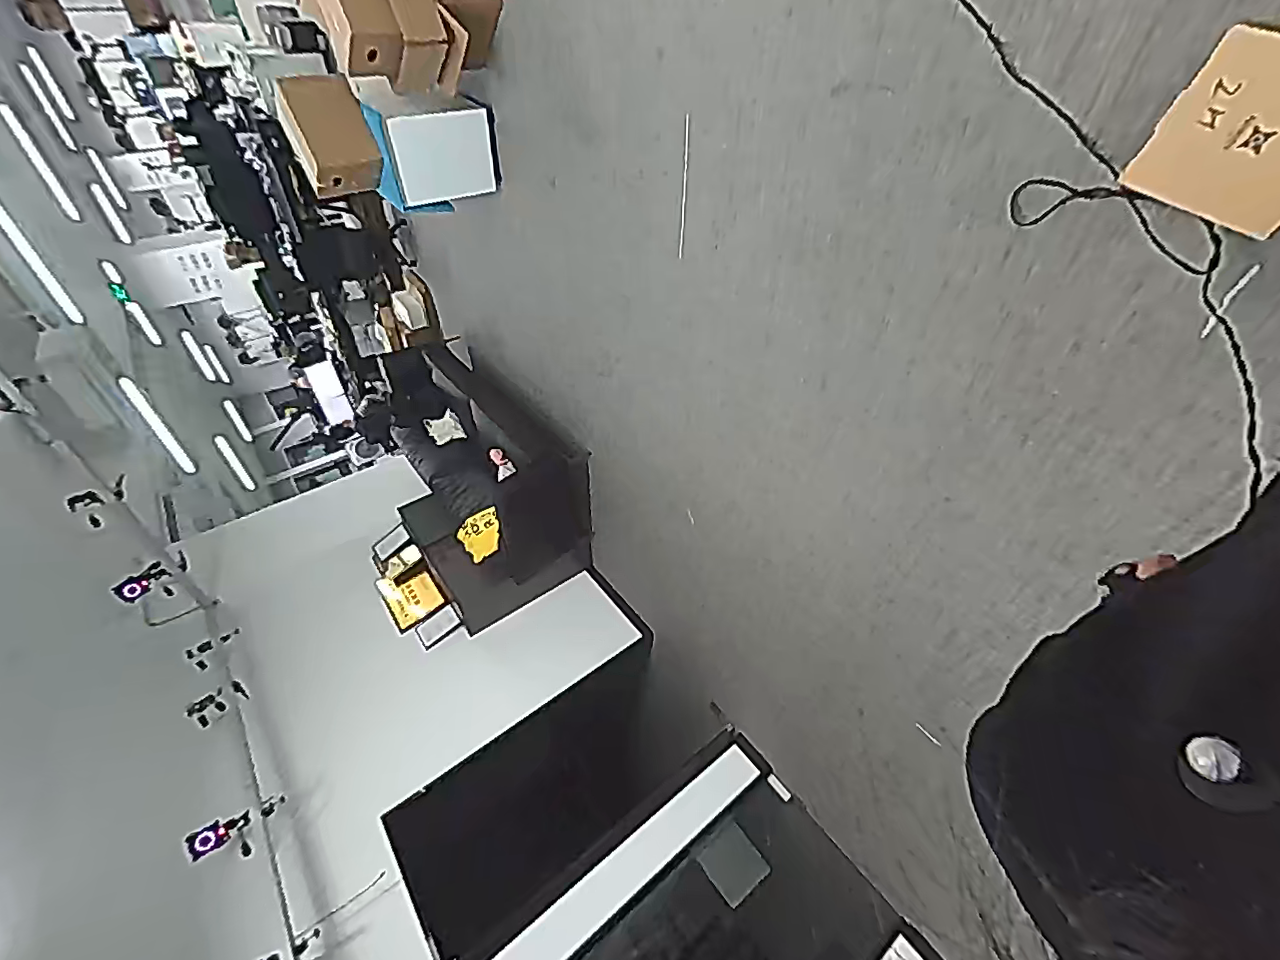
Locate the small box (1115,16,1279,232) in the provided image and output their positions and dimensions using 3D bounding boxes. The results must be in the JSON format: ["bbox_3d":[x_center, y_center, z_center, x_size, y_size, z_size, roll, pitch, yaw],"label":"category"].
[{"bbox_3d":[0.744,-0.427,0.642,0.179,0.176,0.168,49,149,27],"label":"small box"}]
